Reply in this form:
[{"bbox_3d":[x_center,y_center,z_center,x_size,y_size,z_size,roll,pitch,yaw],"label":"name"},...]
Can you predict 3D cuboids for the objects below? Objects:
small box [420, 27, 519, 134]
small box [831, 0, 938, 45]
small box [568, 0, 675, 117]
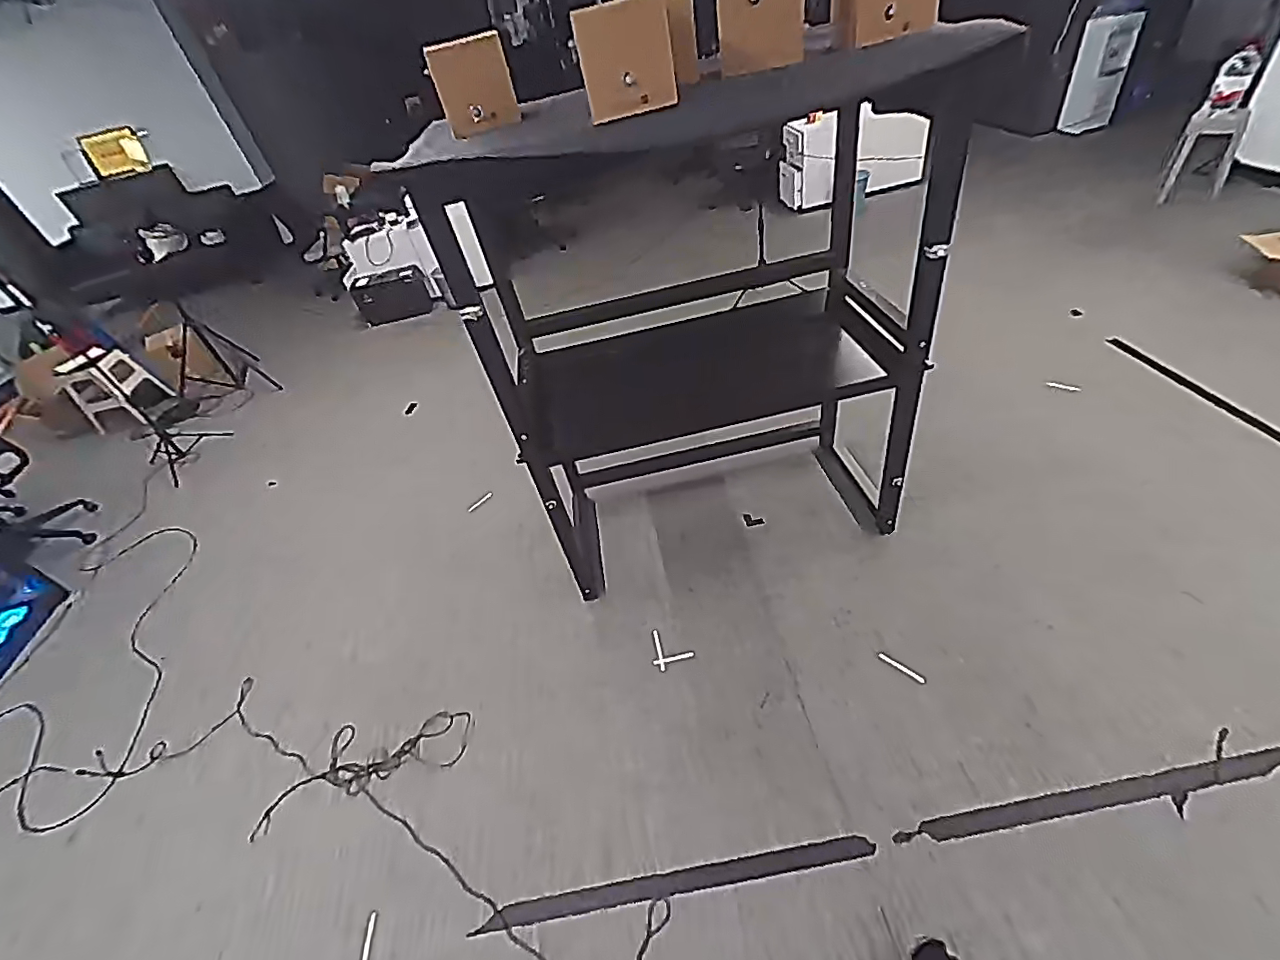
[{"bbox_3d":[-0.391,-0.923,1.252,0.168,0.176,0.179,-20,43,-5],"label":"small box"},{"bbox_3d":[0.504,-1.024,1.120,0.168,0.176,0.179,-10,42,6],"label":"small box"},{"bbox_3d":[-0.034,-0.813,1.030,0.168,0.176,0.179,-12,40,4],"label":"small box"}]
